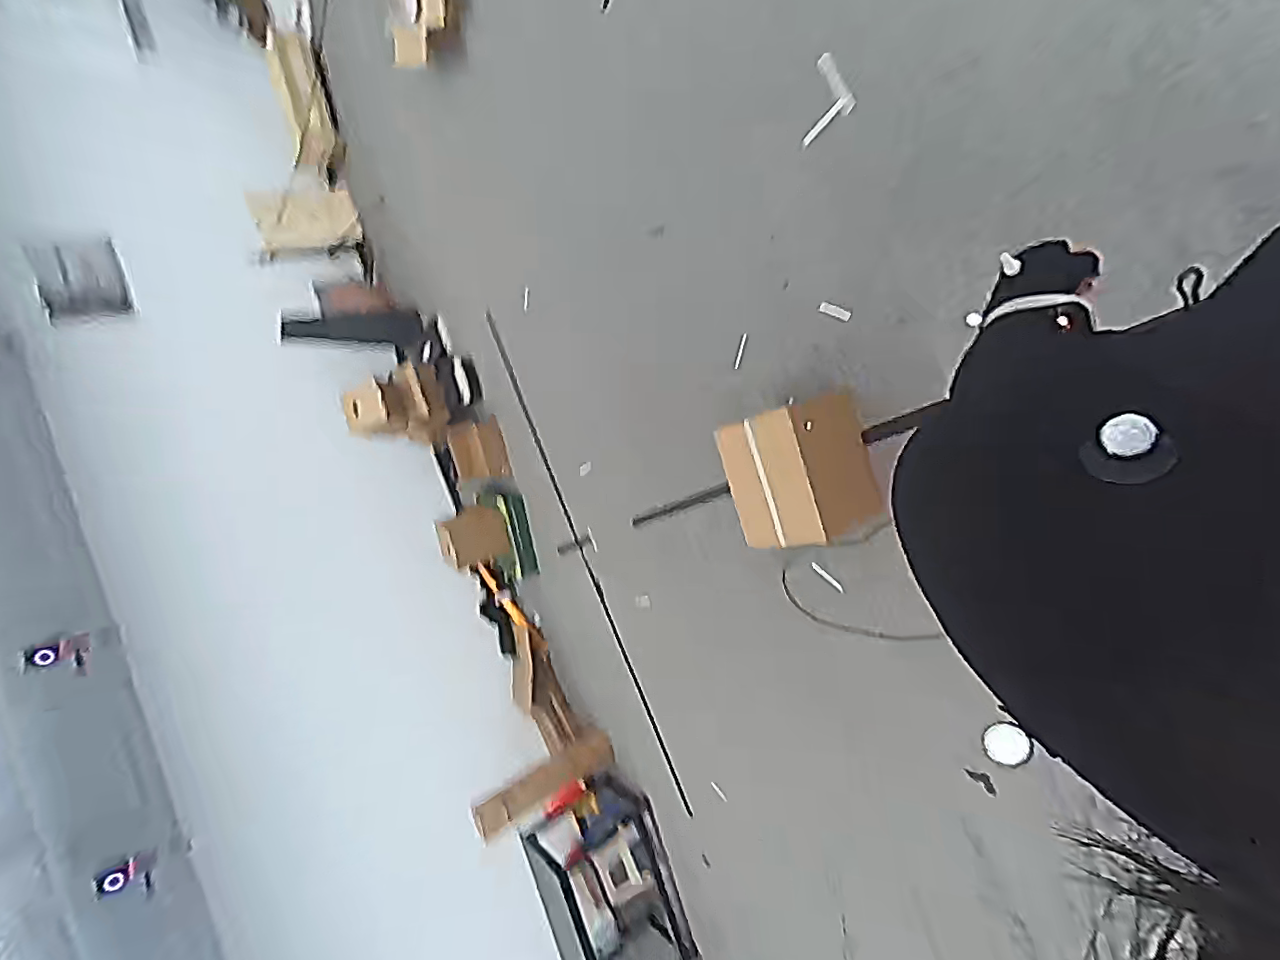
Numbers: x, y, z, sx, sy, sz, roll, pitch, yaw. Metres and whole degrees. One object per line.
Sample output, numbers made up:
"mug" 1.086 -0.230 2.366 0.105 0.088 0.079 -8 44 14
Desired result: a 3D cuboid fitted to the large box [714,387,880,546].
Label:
"large box" 0.497 -0.039 1.713 0.320 0.320 0.408 -14 95 55
